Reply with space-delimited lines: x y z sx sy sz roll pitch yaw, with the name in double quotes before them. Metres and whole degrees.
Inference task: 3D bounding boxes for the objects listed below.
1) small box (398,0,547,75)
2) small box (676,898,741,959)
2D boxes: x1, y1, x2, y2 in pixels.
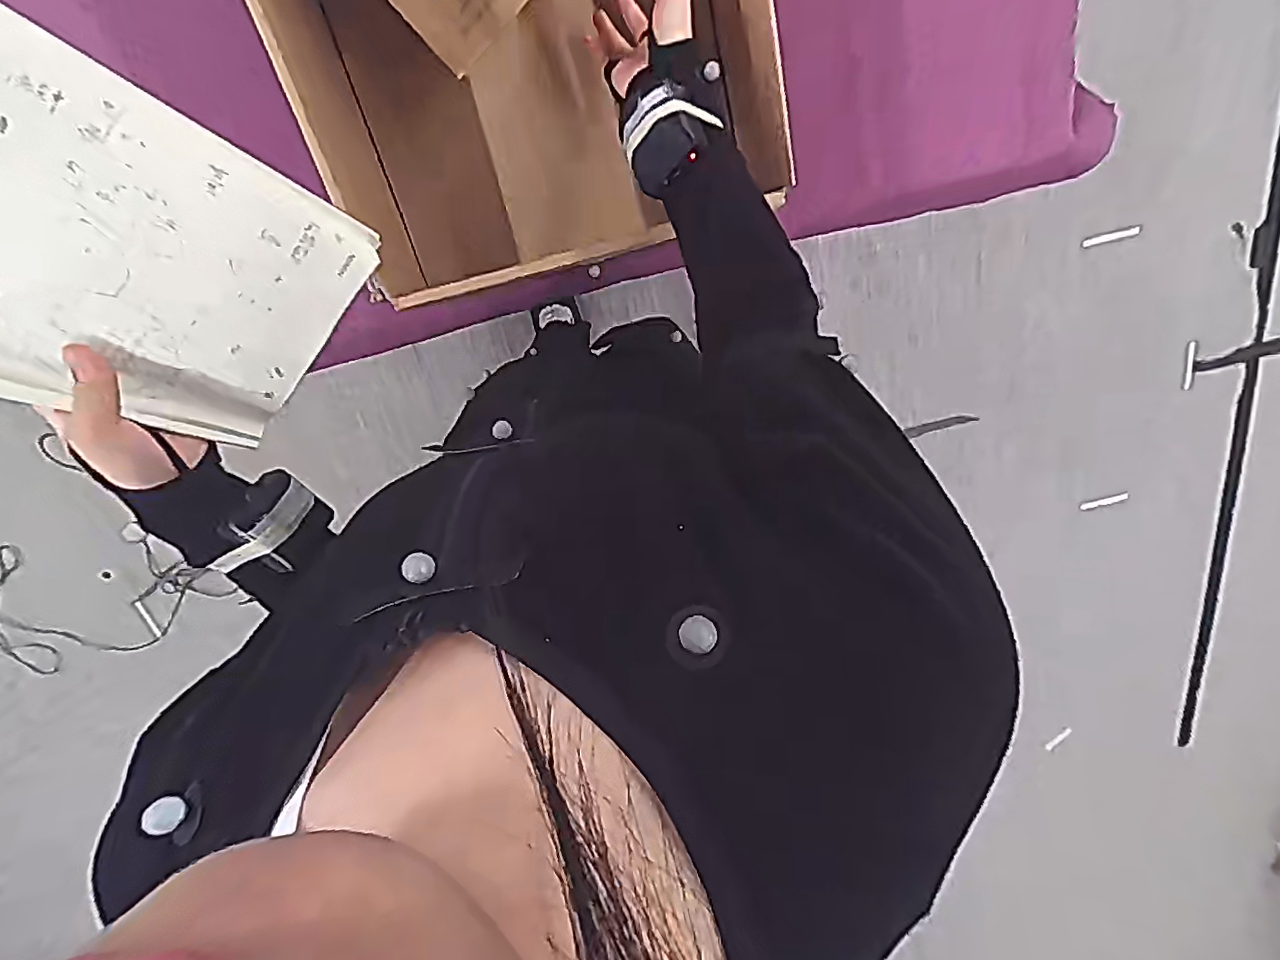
"small box" -0.118 -0.454 0.390 0.176 0.168 0.179 38 70 -37
"small box" 0.222 1.486 1.739 0.168 0.176 0.179 -17 113 2
